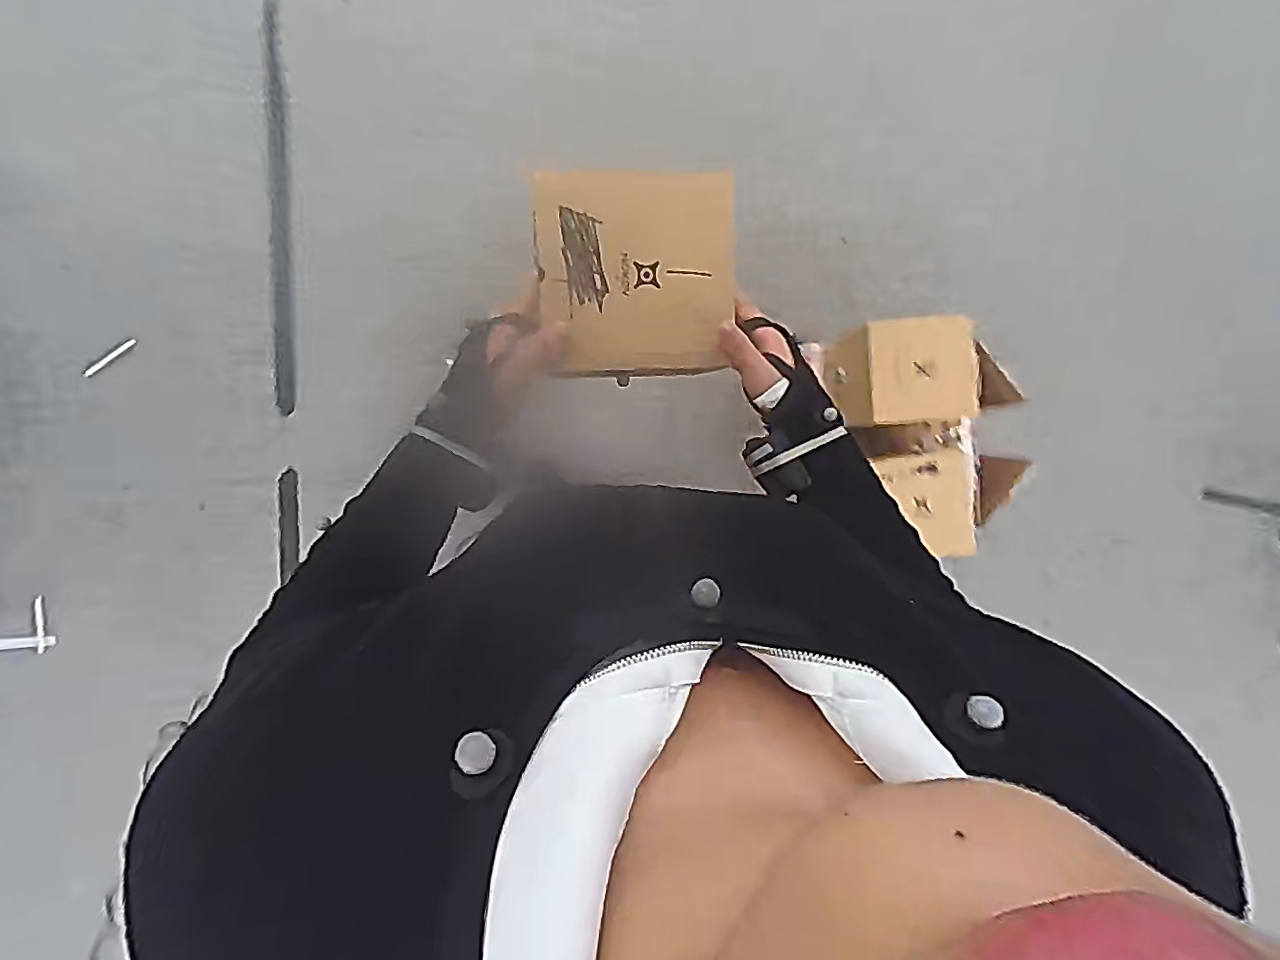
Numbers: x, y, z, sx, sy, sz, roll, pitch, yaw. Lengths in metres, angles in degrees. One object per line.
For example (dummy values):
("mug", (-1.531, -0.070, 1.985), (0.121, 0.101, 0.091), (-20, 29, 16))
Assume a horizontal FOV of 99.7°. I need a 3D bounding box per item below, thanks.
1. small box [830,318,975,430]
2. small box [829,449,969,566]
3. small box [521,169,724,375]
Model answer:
("small box", (0.457, -0.181, 0.962), (0.179, 0.176, 0.168), (-4, 91, 0))
("small box", (0.456, 0.042, 0.974), (0.168, 0.176, 0.179), (-8, 94, -1))
("small box", (-0.019, -0.197, 0.554), (0.179, 0.176, 0.168), (-4, 99, -5))
